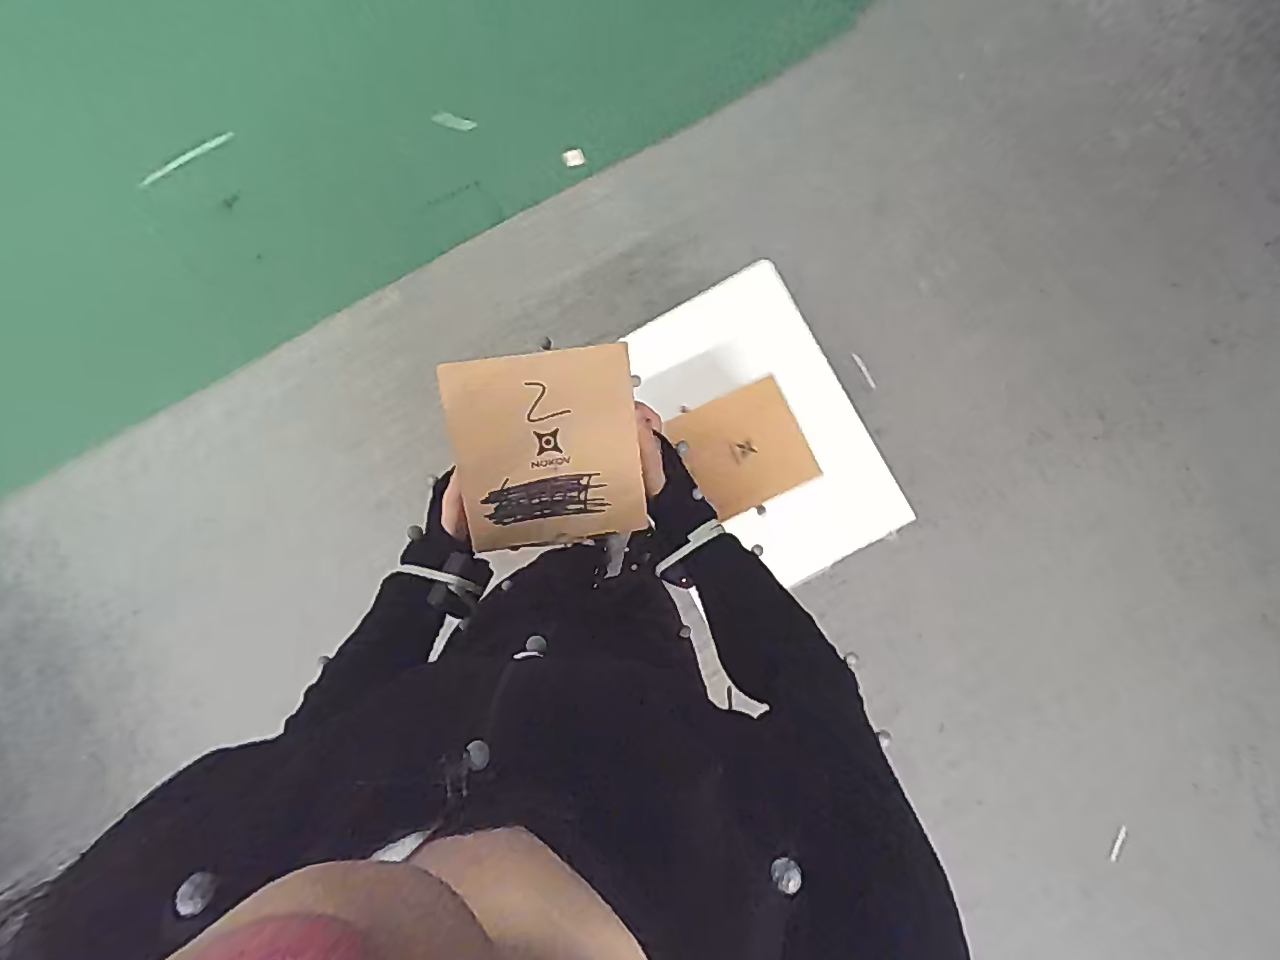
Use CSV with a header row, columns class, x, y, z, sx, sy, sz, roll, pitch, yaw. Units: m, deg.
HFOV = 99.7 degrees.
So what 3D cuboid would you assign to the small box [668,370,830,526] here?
class,x,y,z,sx,sy,sz,roll,pitch,yaw
small box,0.152,-0.042,0.822,0.179,0.176,0.168,-25,86,1
